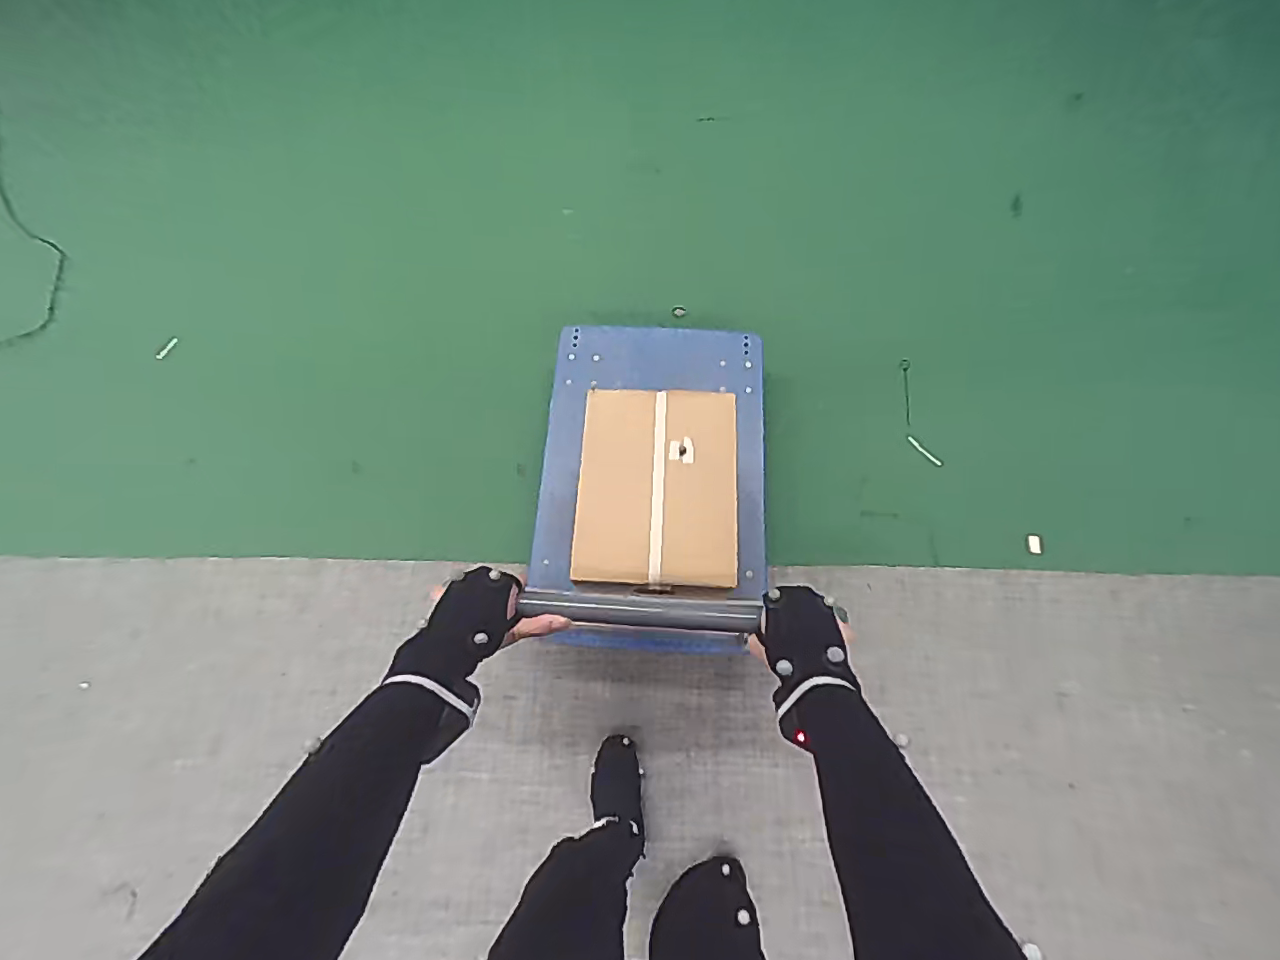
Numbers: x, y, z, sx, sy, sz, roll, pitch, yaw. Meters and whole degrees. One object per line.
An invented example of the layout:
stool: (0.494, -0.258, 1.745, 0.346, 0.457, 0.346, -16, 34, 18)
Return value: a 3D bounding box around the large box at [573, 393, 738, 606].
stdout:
large box: (0.041, 0.059, 1.209, 0.320, 0.320, 0.408, 3, 69, 2)
